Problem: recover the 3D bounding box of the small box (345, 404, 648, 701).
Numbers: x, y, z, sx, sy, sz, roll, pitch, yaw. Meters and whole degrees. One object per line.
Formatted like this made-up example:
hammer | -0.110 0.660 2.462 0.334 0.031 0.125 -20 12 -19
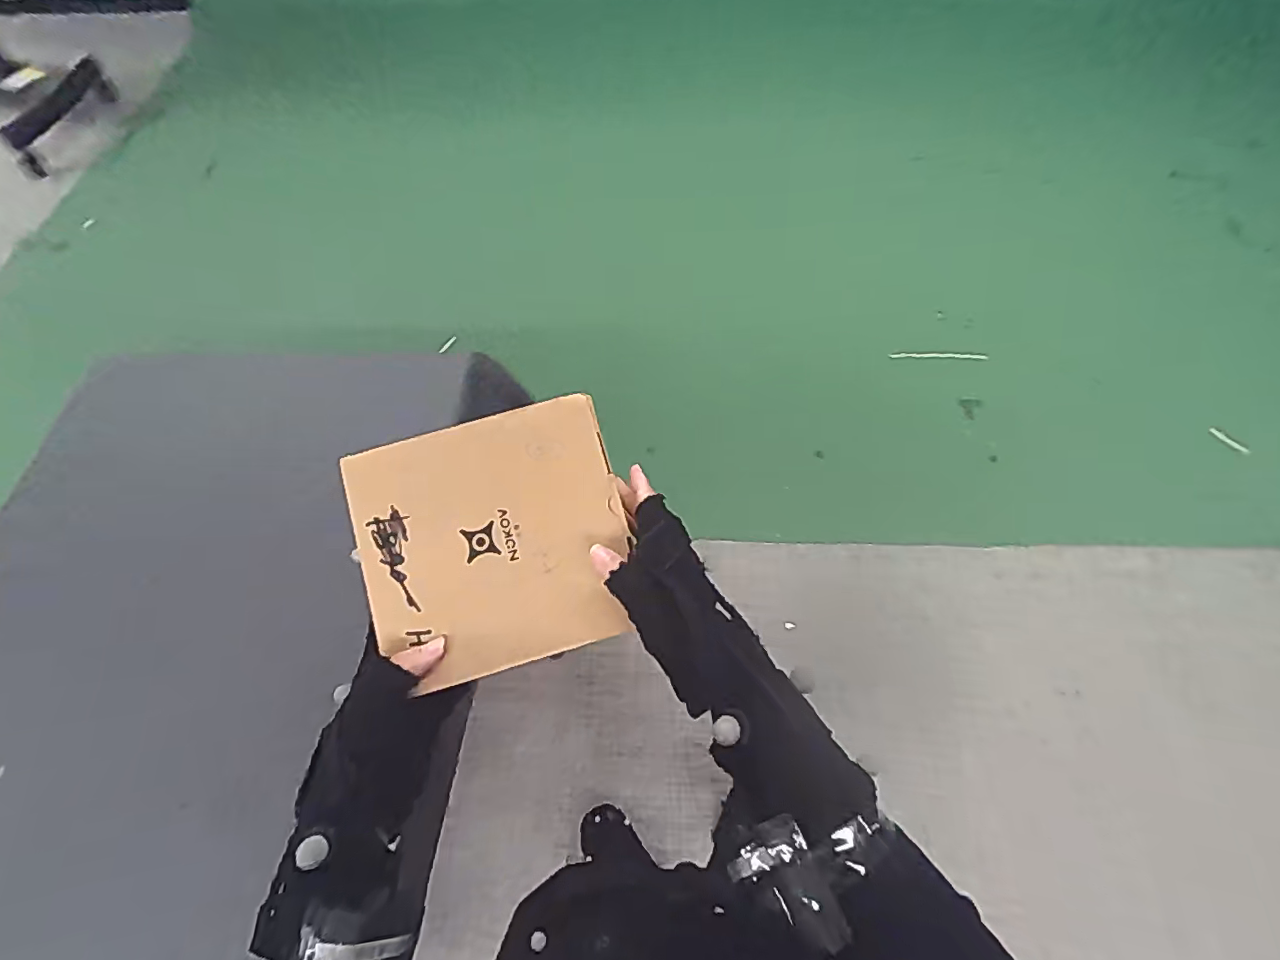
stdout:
small box | -0.099 0.056 0.437 0.179 0.176 0.168 -14 80 -3
